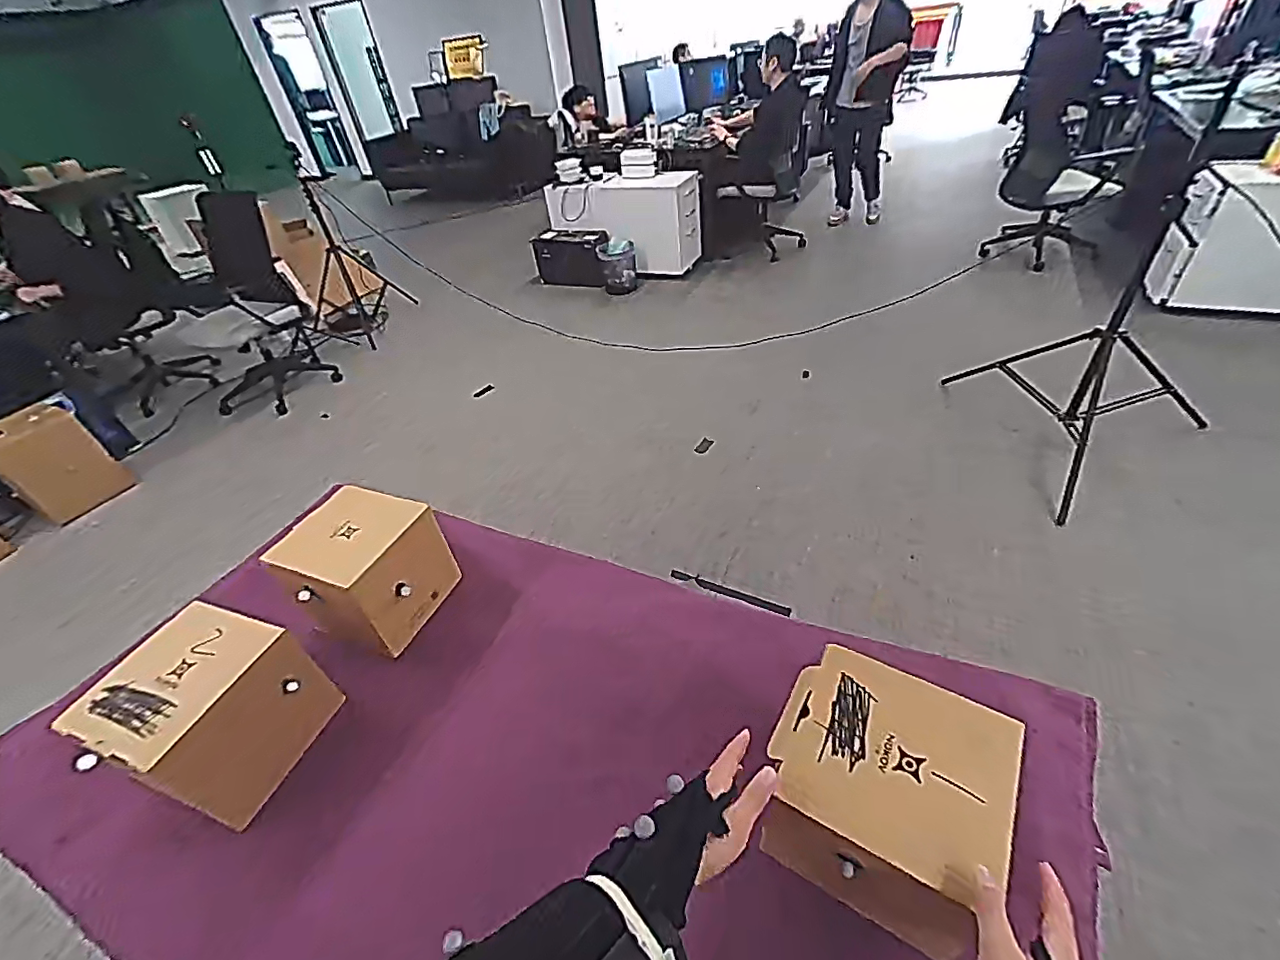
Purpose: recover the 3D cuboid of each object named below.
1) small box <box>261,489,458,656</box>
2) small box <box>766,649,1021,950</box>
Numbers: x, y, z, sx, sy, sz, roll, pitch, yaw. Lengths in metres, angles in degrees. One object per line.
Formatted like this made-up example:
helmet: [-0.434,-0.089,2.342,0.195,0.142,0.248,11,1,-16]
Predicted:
small box: [-0.410,0.142,0.827,0.179,0.176,0.168,11,43,21]
small box: [0.231,0.305,0.522,0.179,0.176,0.168,19,48,27]
